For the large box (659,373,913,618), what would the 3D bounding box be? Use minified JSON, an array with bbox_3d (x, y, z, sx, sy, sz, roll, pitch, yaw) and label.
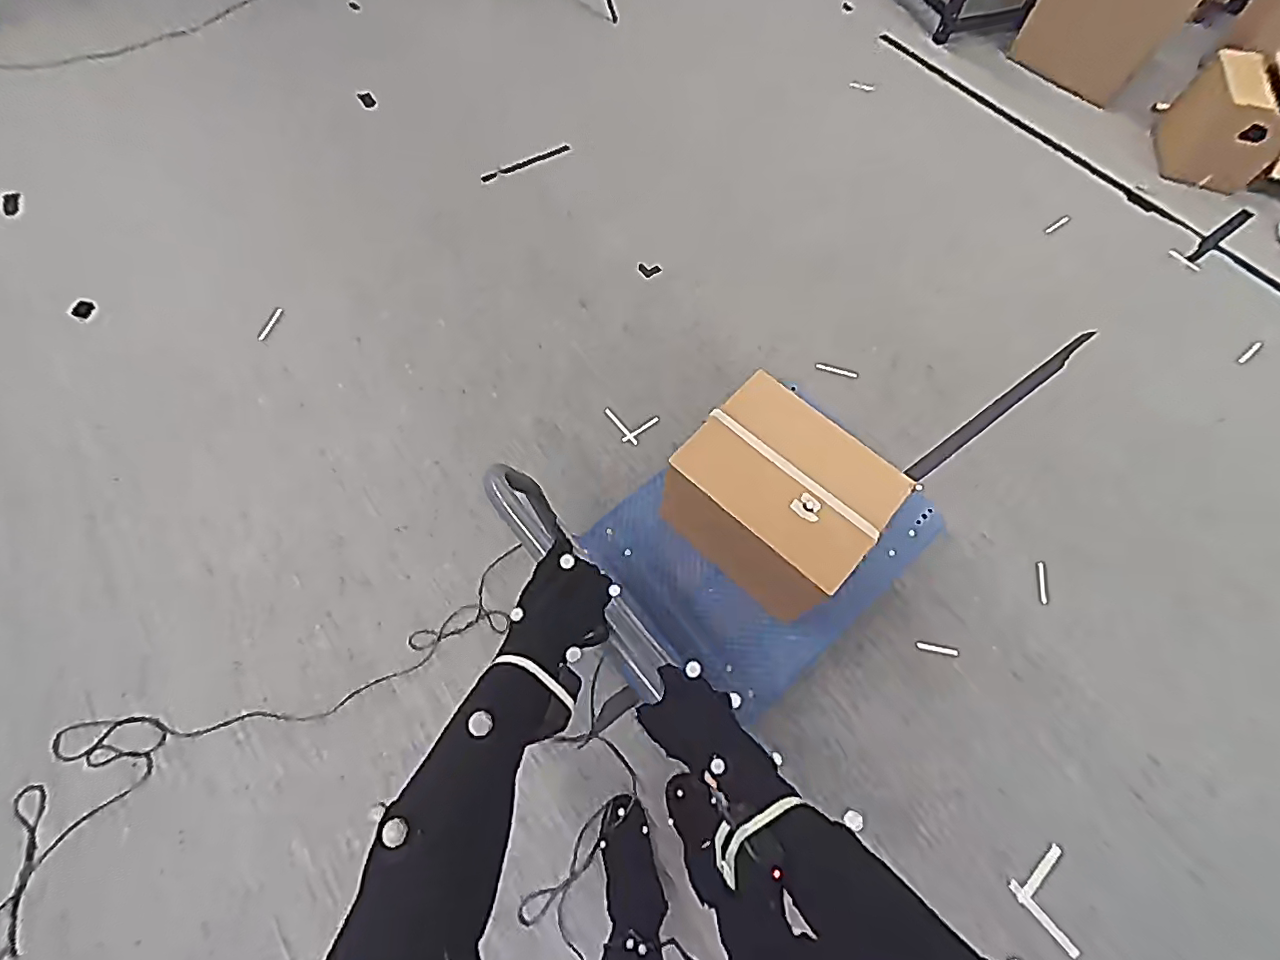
[{"bbox_3d":[0.298,0.044,1.226,0.408,0.320,0.320,40,71,14],"label":"large box"}]
